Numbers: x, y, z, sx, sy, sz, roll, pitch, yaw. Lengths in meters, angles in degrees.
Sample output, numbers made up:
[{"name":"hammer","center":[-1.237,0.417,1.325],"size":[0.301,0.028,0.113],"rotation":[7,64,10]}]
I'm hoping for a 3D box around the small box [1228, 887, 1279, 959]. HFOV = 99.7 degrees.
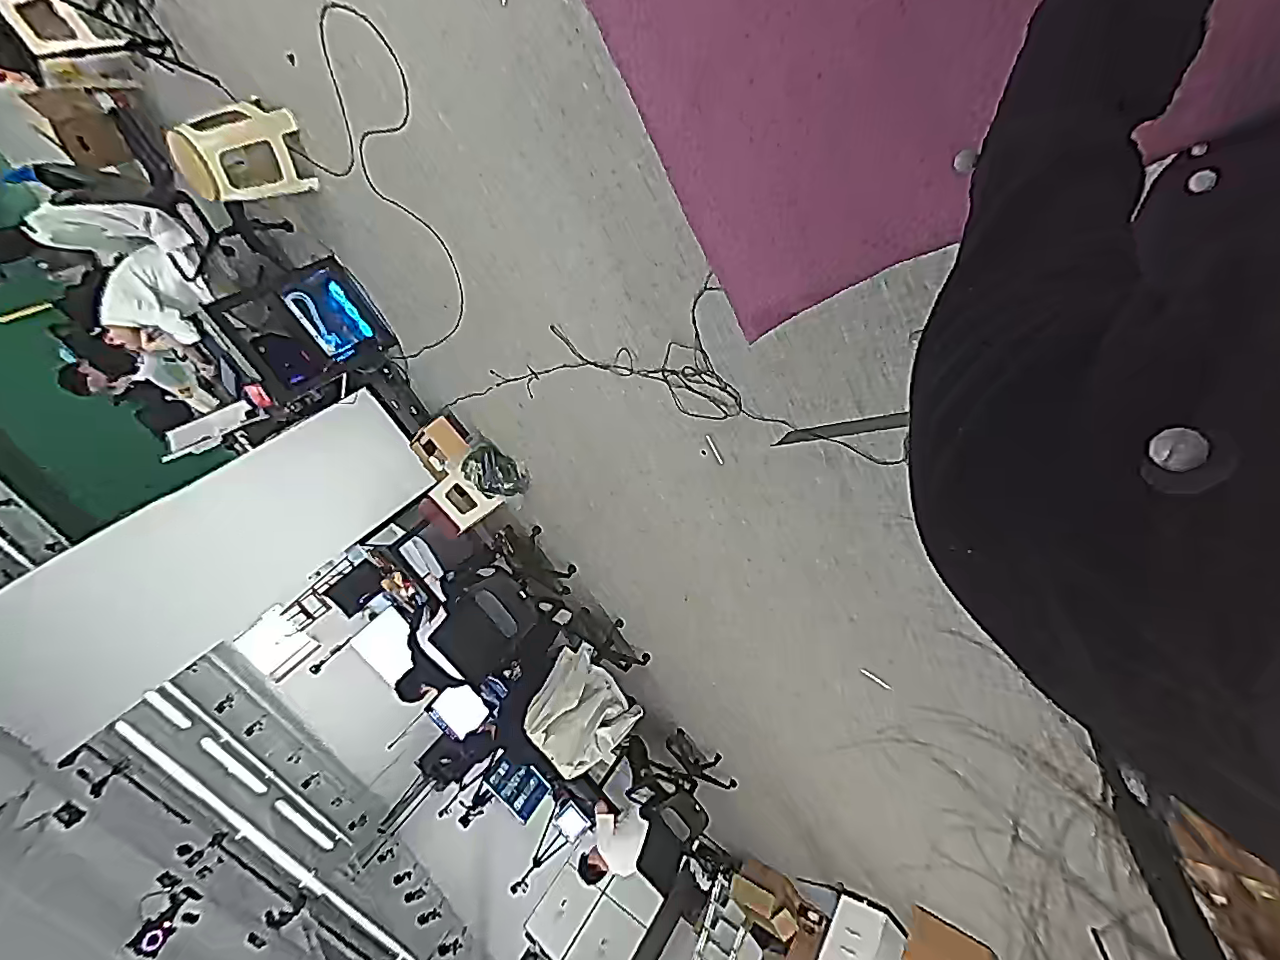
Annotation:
[{"name":"small box","center":[1.729,1.257,1.462],"size":[0.179,0.176,0.168],"rotation":[-8,119,51]}]
